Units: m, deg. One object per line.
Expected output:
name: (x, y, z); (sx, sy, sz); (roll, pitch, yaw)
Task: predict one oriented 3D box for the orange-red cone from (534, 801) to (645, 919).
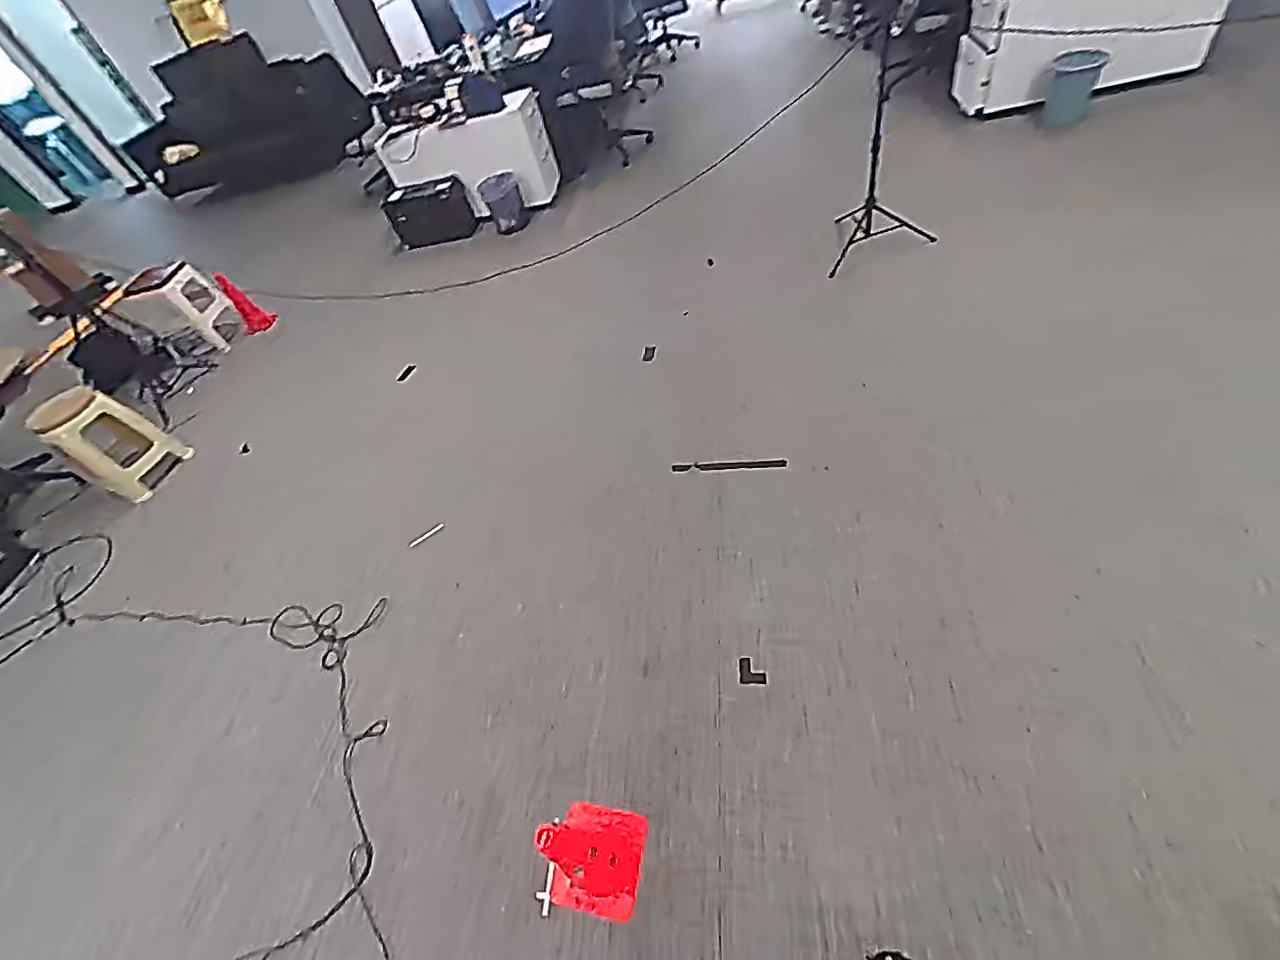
orange-red cone: (-0.135, 0.754, 1.107); (0.199, 0.360, 0.198); (3, 52, 18)
